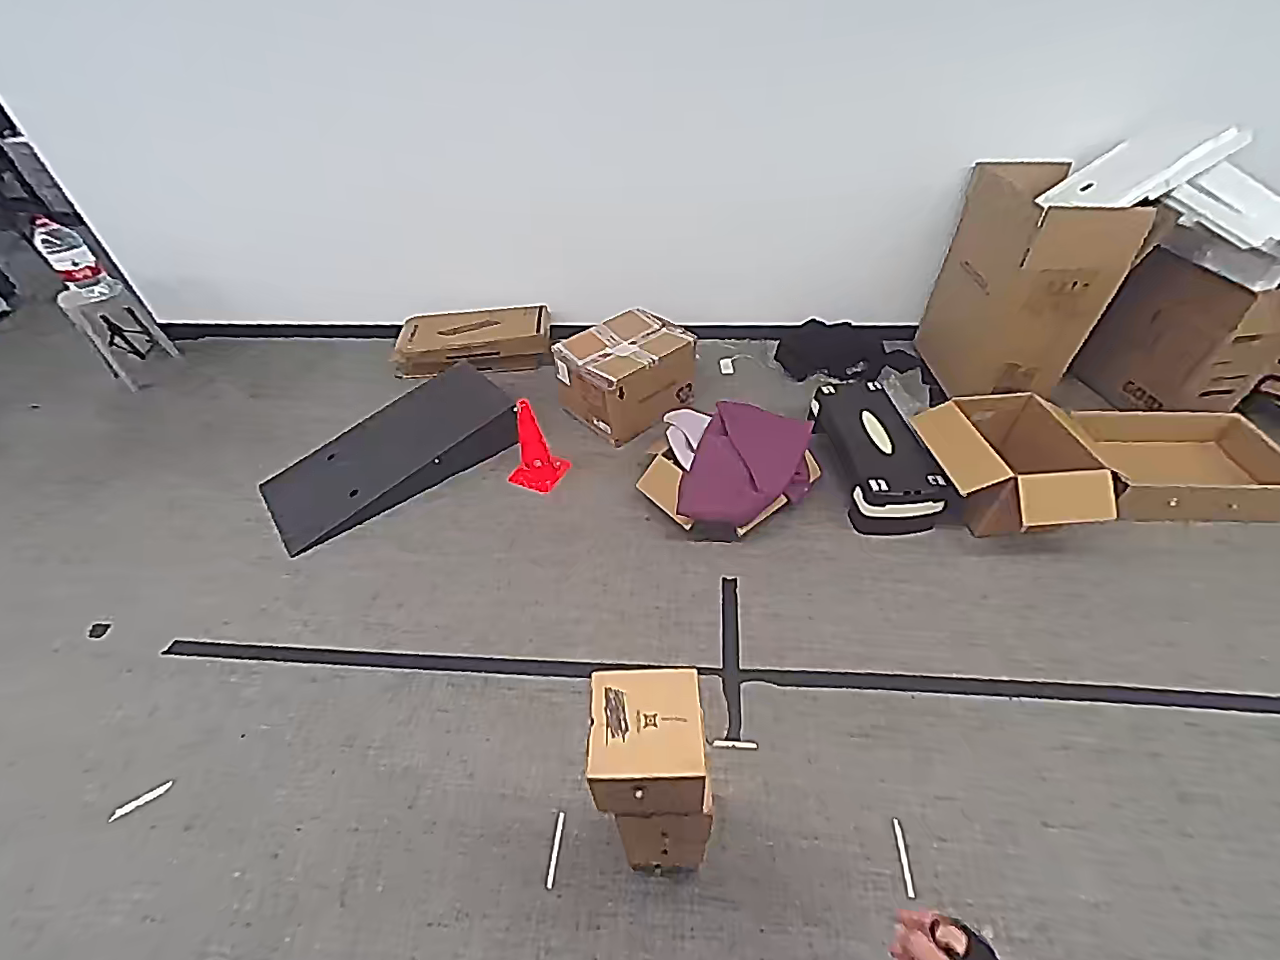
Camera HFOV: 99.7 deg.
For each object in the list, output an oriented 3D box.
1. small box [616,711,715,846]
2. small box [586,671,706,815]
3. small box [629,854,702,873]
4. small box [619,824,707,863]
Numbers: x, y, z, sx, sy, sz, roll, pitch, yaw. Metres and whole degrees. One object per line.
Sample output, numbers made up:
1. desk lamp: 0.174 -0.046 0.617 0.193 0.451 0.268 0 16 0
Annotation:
1. small box: 0.044 0.549 0.996 0.168 0.176 0.179 -4 44 2
2. small box: 0.014 0.431 0.884 0.179 0.176 0.168 -3 44 2
3. small box: 0.058 0.774 1.237 0.168 0.176 0.179 -1 45 4
4. small box: 0.053 0.668 1.112 0.168 0.176 0.179 0 44 5
